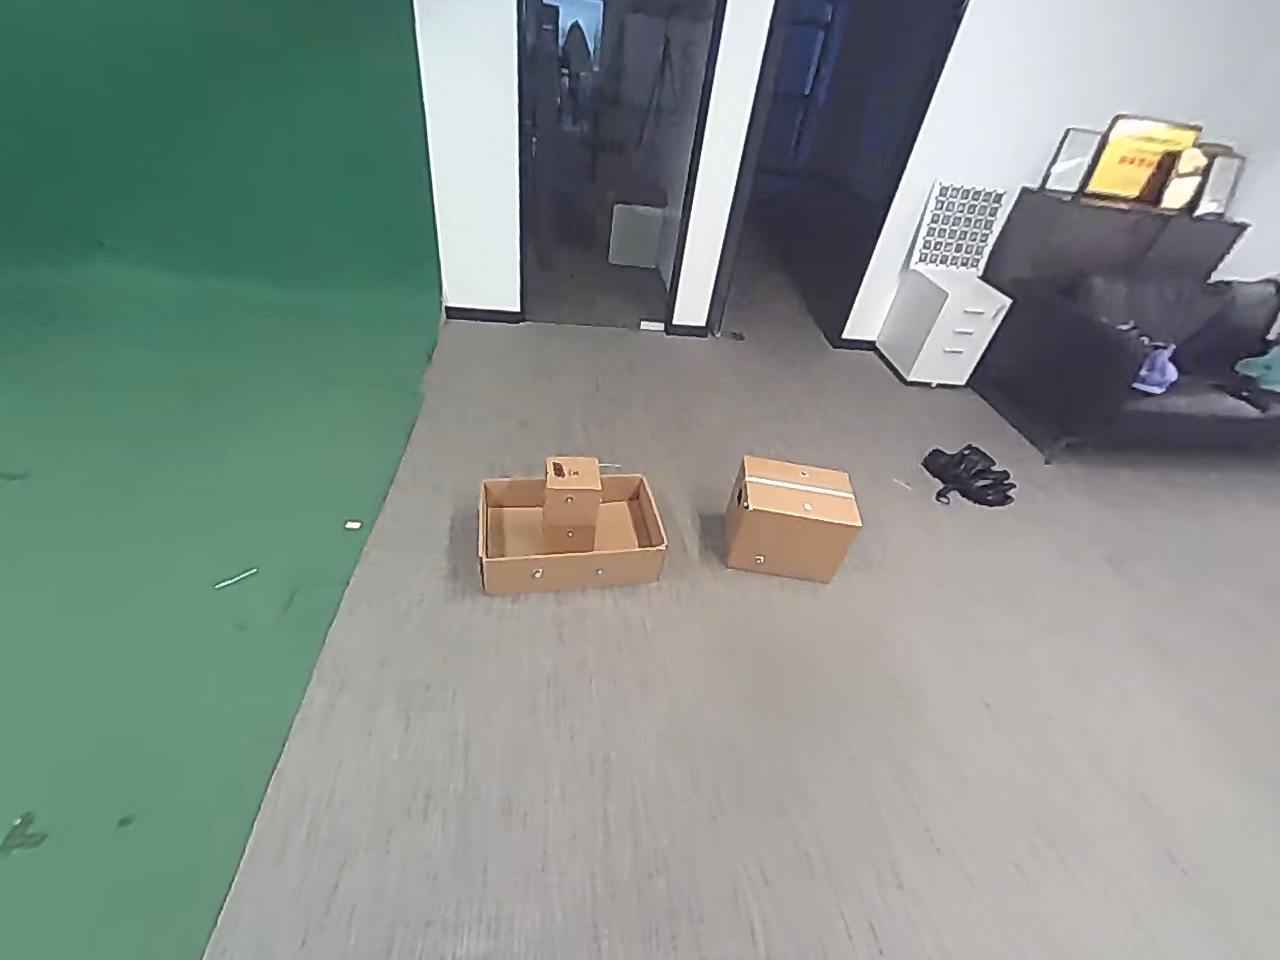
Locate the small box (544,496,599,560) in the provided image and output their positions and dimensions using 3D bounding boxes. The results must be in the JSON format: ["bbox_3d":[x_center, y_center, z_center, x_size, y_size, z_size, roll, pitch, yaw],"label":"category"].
[{"bbox_3d":[-0.250,0.170,1.927,0.179,0.176,0.168,0,40,-14],"label":"small box"}]

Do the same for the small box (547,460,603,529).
[{"bbox_3d":[-0.224,0.051,1.816,0.179,0.176,0.168,2,39,-12],"label":"small box"}]
